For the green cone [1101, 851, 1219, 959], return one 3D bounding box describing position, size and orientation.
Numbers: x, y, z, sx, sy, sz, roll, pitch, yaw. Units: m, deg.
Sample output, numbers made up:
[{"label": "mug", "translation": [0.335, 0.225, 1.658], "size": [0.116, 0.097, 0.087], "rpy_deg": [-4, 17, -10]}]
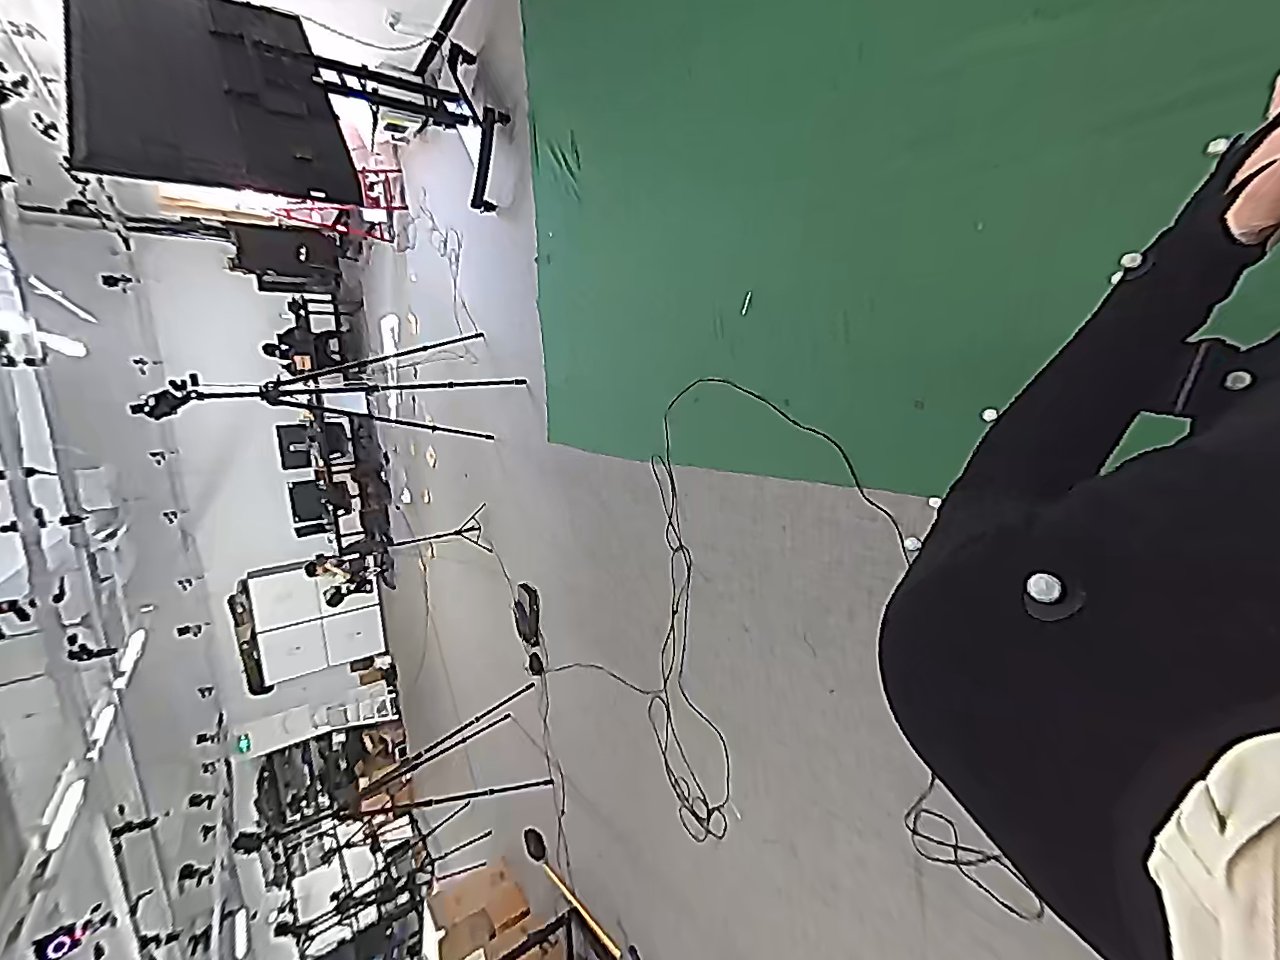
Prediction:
[{"label": "green cone", "translation": [1.131, 1.072, 1.228], "size": [0.202, 0.368, 0.200], "rpy_deg": [12, 107, 53]}]
